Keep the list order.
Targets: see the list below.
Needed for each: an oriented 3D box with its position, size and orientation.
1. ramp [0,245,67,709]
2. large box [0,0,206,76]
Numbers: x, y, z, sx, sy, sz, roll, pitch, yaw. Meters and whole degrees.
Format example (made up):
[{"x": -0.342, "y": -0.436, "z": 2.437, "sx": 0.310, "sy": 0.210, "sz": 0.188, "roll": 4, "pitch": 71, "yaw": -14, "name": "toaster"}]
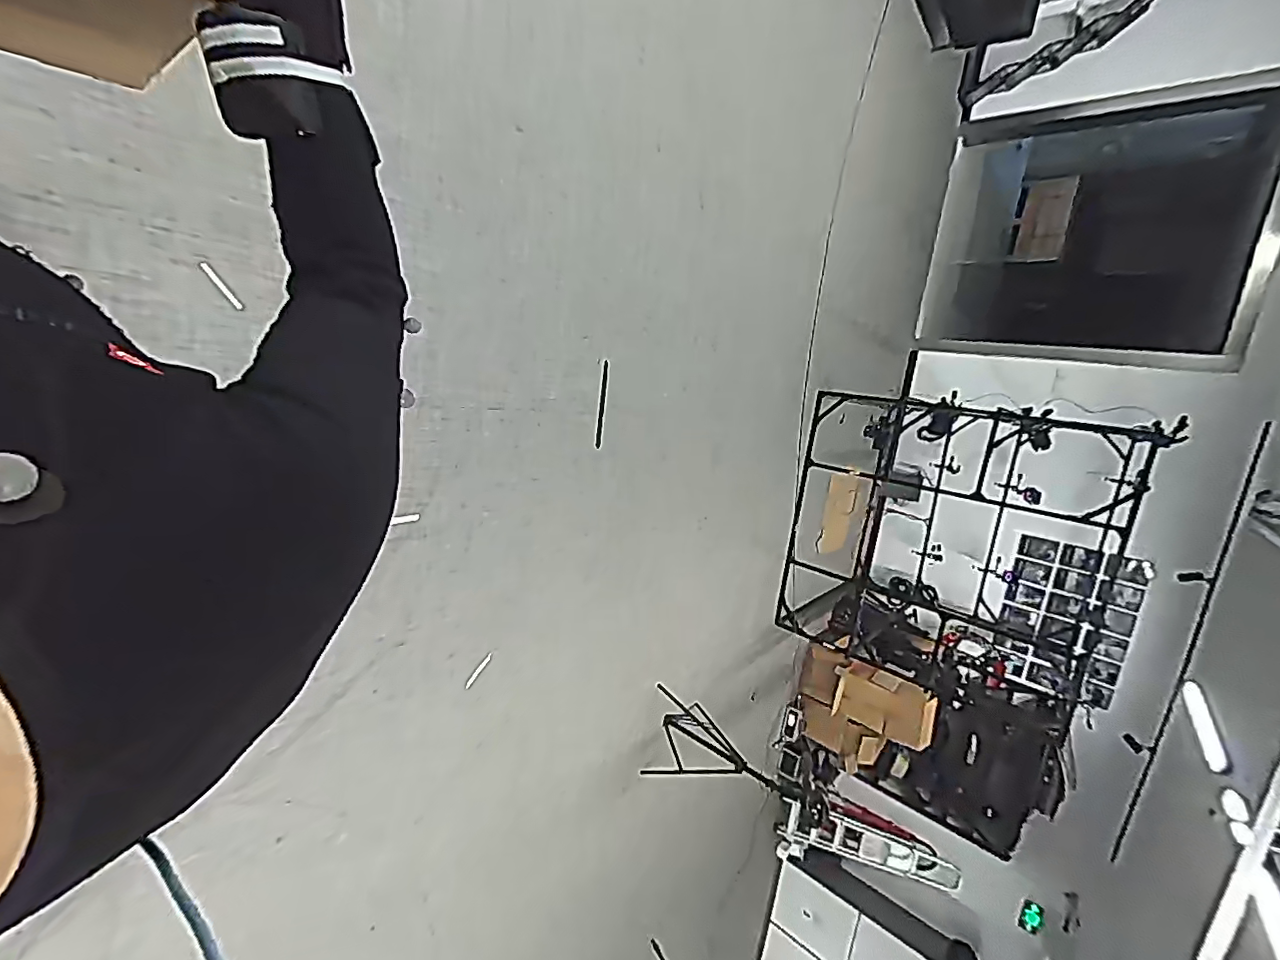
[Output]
[{"x": -1.370, "y": 0.060, "z": 0.940, "sx": 0.509, "sy": 0.206, "sz": 0.991, "roll": -9, "pitch": 110, "yaw": -51, "name": "ramp"}, {"x": -0.493, "y": -0.464, "z": 0.248, "sx": 0.408, "sy": 0.320, "sz": 0.320, "roll": -13, "pitch": 116, "yaw": -48, "name": "large box"}]
